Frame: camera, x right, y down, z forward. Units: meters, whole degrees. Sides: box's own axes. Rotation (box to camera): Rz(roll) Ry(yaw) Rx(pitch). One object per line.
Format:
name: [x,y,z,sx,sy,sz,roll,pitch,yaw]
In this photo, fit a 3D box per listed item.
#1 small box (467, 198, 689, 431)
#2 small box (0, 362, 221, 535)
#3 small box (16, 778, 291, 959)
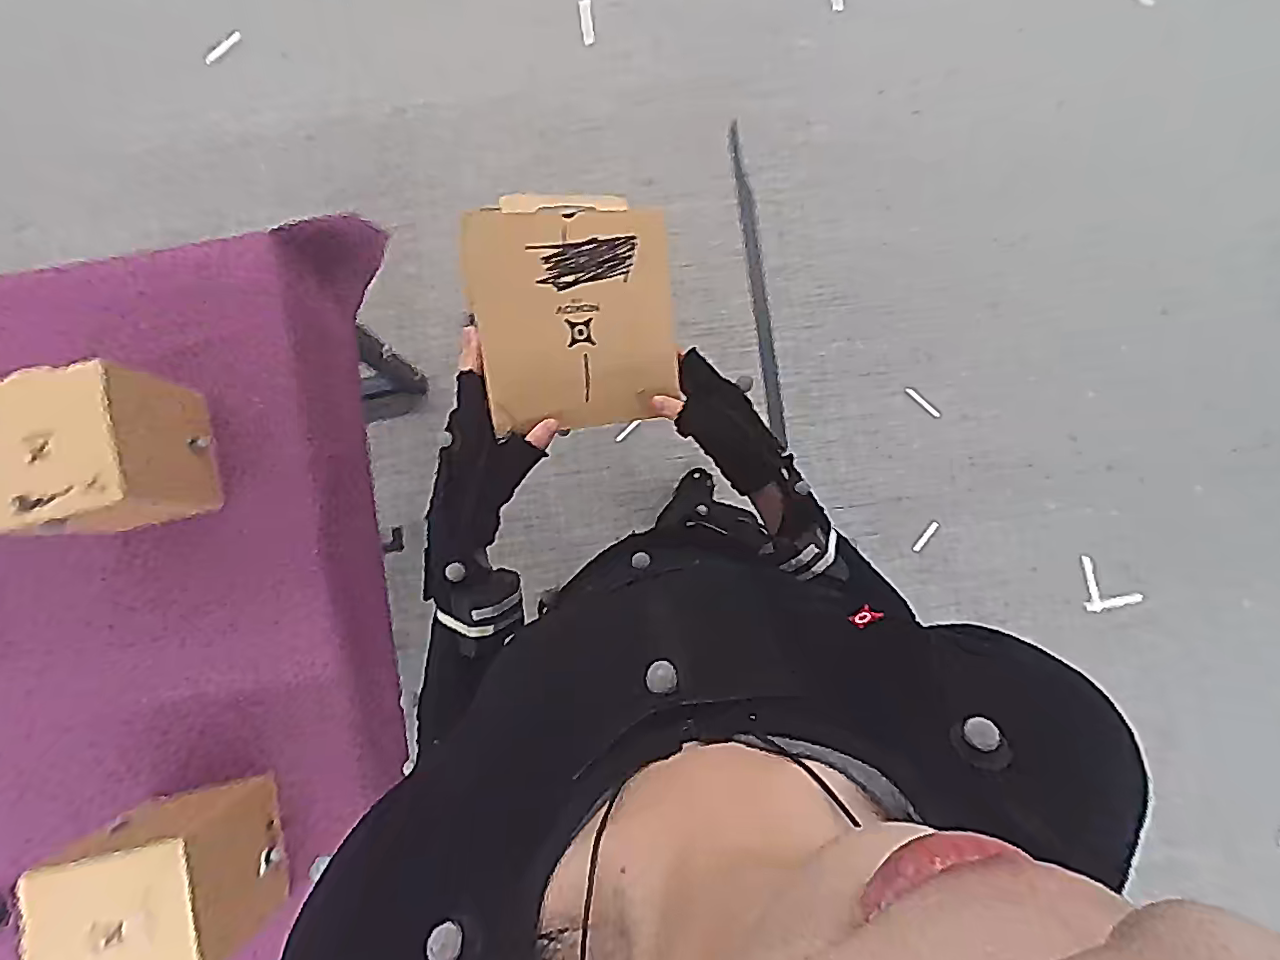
small box: [-0.067,-0.146,0.512,0.168,0.176,0.179,-9,102,-16]
small box: [-0.694,-0.030,0.701,0.168,0.176,0.179,-14,85,-3]
small box: [-0.569,0.496,0.655,0.179,0.176,0.168,-12,86,-4]
